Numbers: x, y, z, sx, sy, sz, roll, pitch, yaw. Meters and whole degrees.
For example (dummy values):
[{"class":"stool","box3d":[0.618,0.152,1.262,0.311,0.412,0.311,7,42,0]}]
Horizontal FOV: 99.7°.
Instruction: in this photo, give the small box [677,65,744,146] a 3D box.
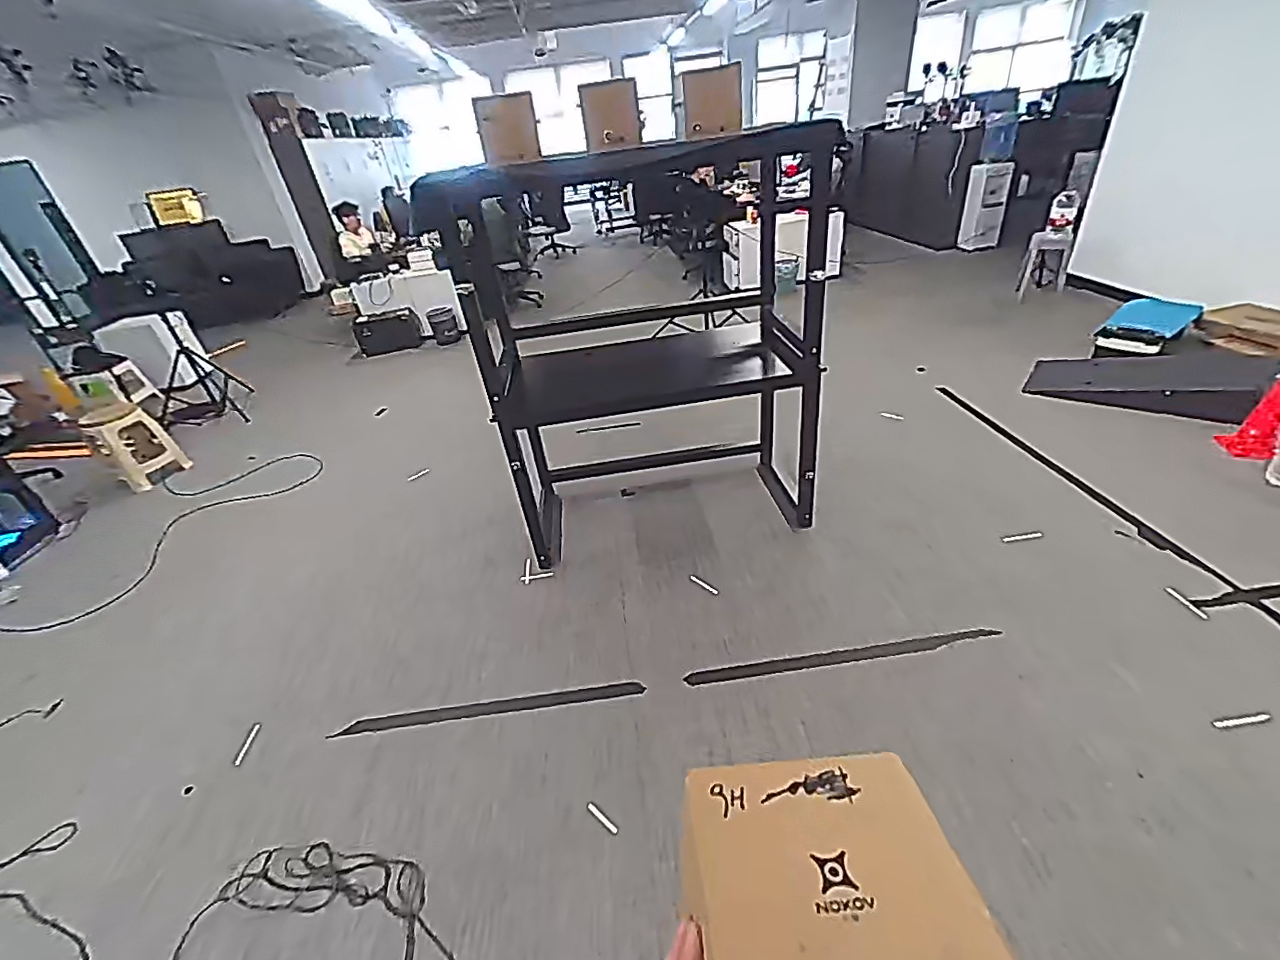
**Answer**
[{"class":"small box","box3d":[0.205,-1.080,1.568,0.168,0.176,0.179,-8,32,1]}]

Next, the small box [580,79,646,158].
[{"class":"small box","box3d":[-0.075,-1.033,1.557,0.168,0.176,0.179,-8,32,2]}]

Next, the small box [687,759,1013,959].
[{"class":"small box","box3d":[0.124,0.325,0.362,0.168,0.176,0.179,-3,26,-3]}]
